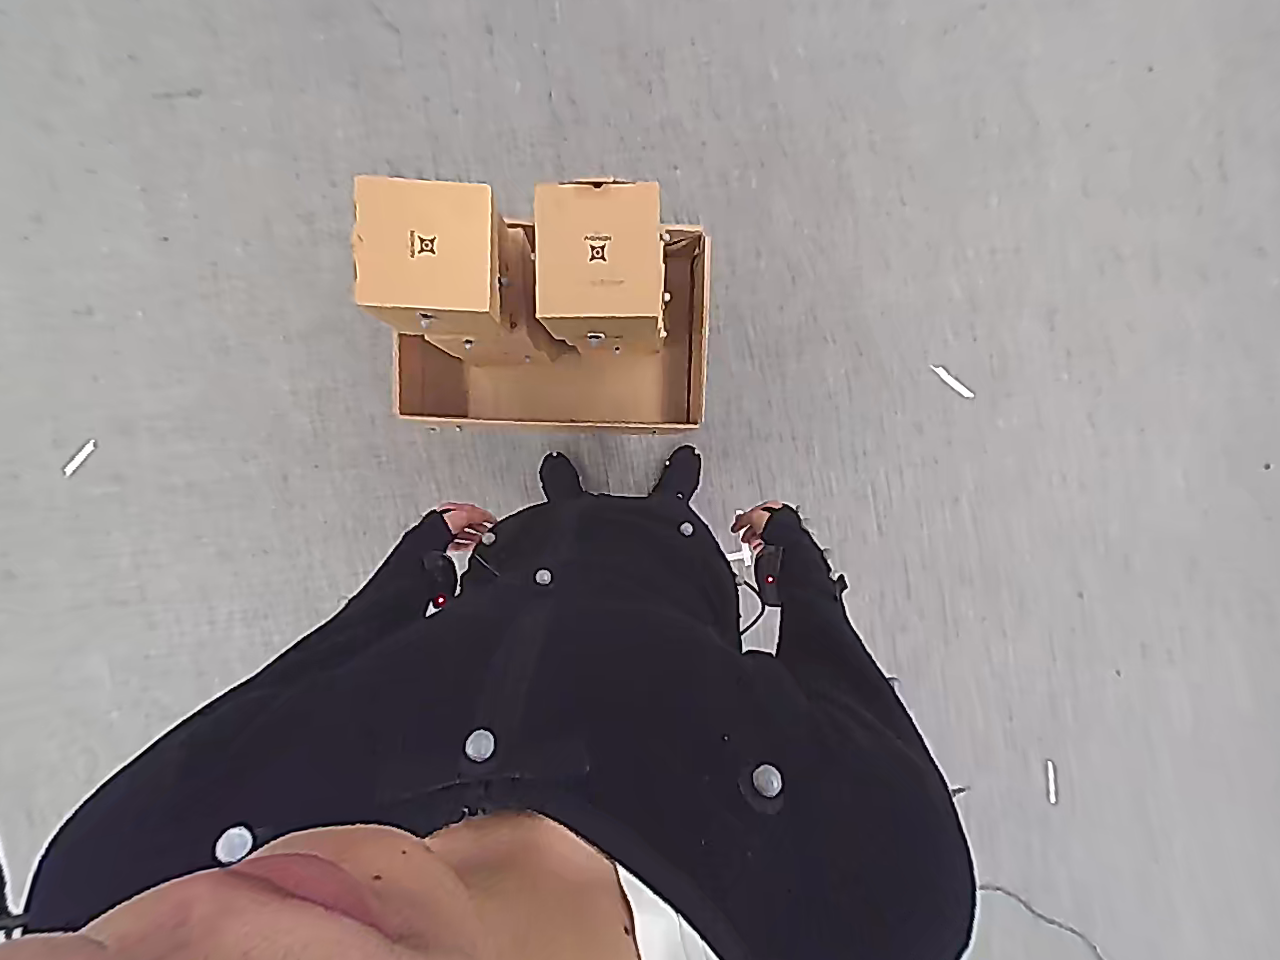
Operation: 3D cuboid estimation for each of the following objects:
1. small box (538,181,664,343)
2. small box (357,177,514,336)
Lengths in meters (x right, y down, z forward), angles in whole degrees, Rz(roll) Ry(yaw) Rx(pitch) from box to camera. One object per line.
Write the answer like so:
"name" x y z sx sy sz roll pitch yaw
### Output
"small box" -0.051 -0.305 0.784 0.168 0.176 0.179 0 93 1
"small box" -0.282 -0.308 0.779 0.179 0.176 0.168 1 93 -3
